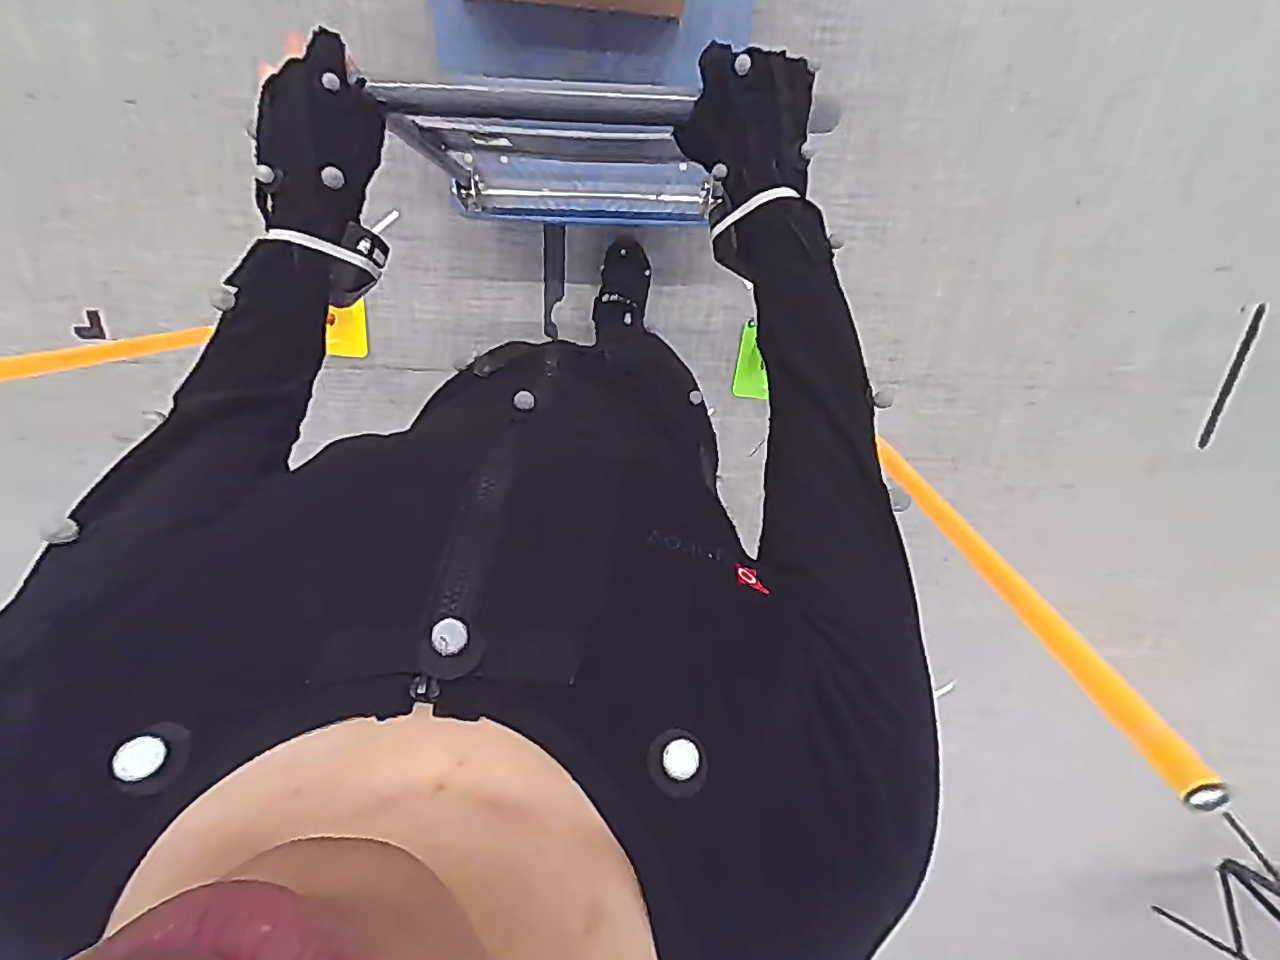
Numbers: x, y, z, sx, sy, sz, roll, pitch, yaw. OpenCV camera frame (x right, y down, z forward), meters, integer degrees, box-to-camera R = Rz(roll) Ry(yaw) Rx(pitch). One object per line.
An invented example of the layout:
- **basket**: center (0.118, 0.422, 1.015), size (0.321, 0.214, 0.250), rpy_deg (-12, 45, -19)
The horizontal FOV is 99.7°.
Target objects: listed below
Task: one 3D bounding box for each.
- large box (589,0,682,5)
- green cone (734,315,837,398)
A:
- **large box**: center (-0.109, -0.949, 0.785), size (0.408, 0.320, 0.320), rpy_deg (2, 113, -3)
- **green cone**: center (0.363, -0.254, 1.251), size (0.202, 0.368, 0.200), rpy_deg (5, 112, -6)
